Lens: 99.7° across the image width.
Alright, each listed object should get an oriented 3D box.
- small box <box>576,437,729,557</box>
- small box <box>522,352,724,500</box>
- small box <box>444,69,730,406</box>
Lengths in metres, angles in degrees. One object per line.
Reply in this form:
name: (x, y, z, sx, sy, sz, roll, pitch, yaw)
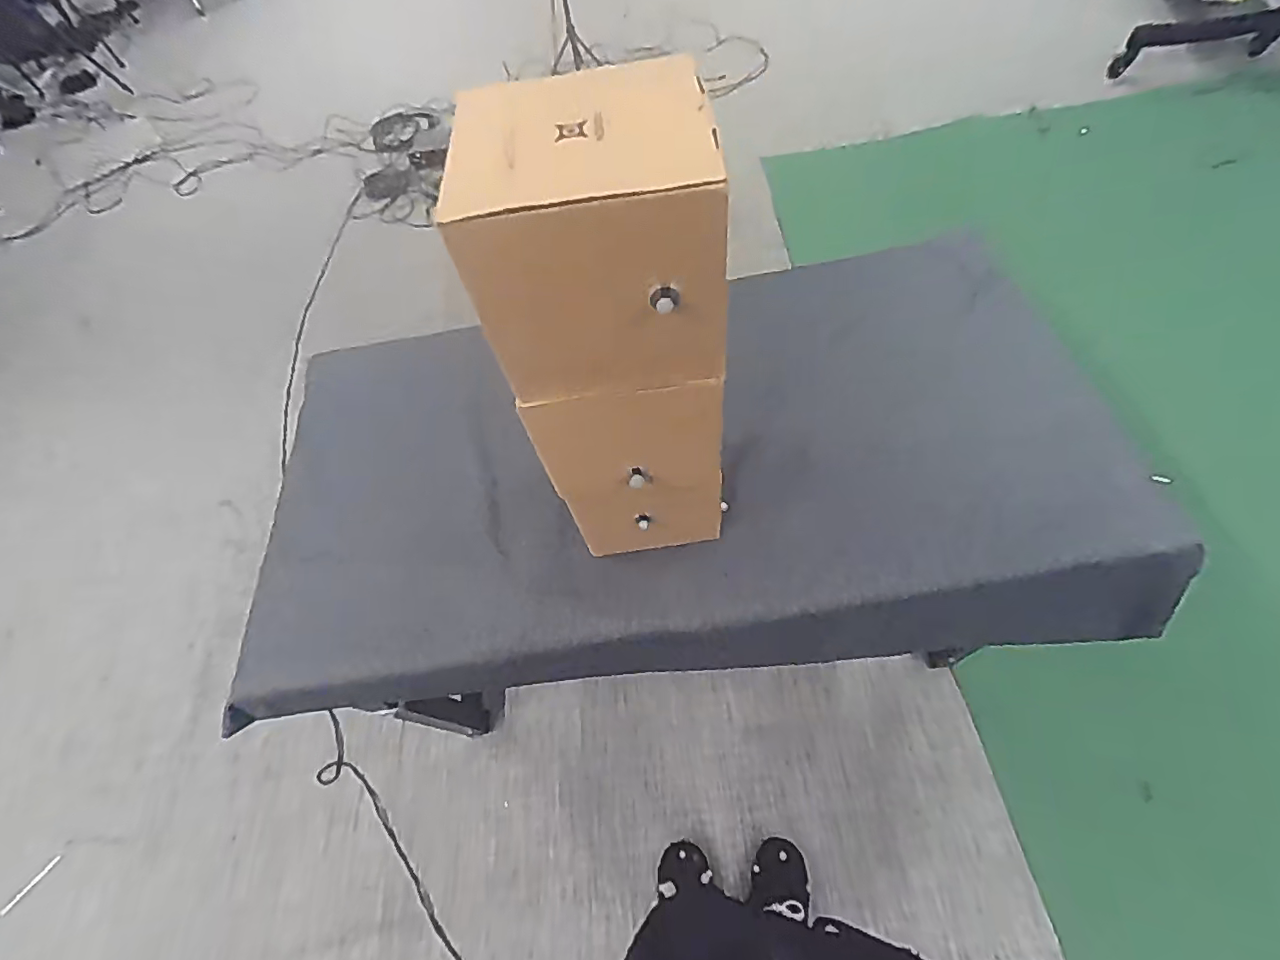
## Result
small box: (0.008, -0.016, 0.708, 0.179, 0.176, 0.168, -11, 59, 0)
small box: (-0.013, -0.094, 0.567, 0.179, 0.176, 0.168, -7, 58, 3)
small box: (-0.030, -0.180, 0.430, 0.179, 0.176, 0.168, -9, 58, 4)
